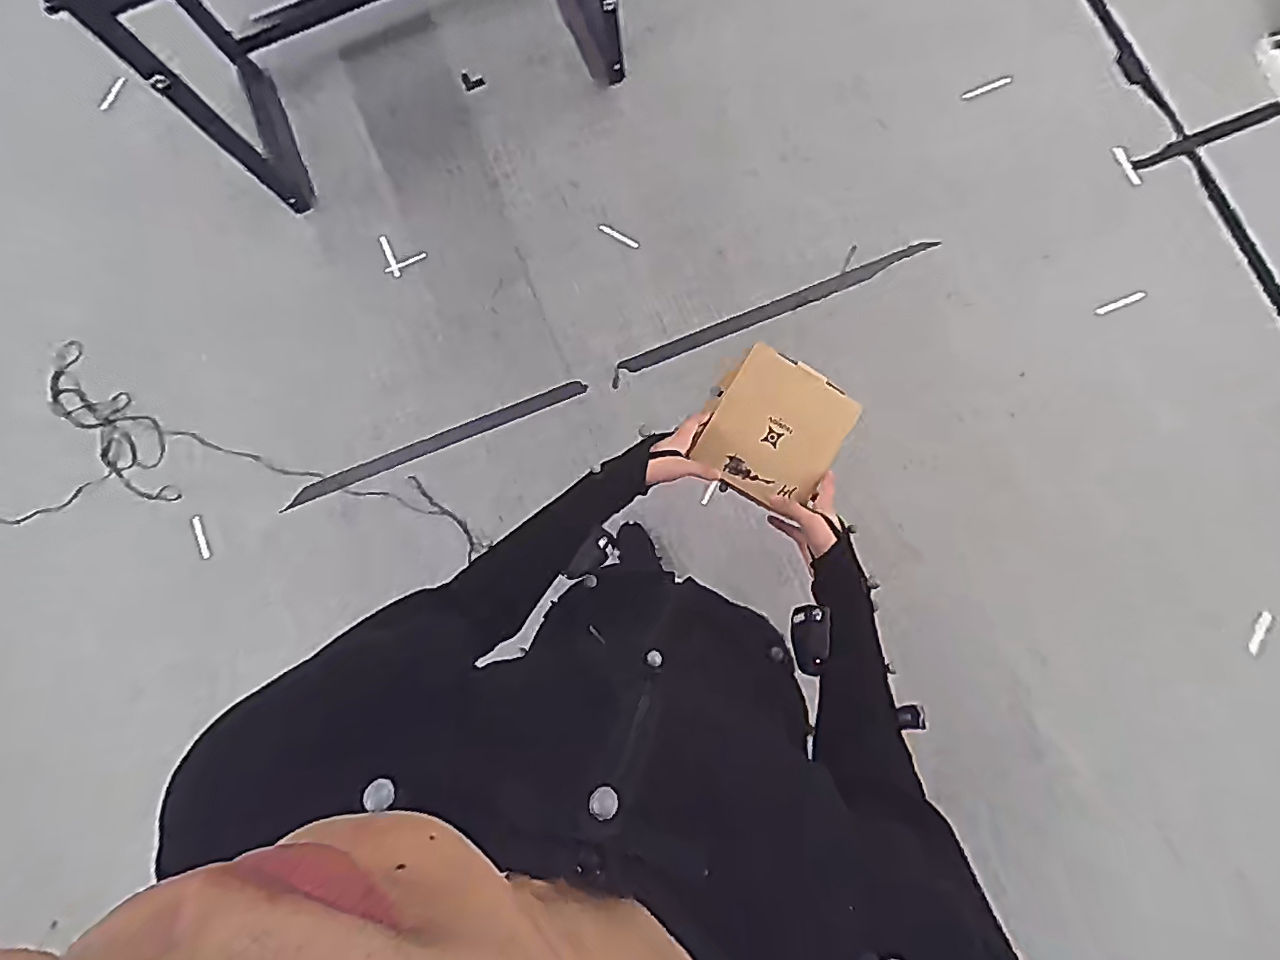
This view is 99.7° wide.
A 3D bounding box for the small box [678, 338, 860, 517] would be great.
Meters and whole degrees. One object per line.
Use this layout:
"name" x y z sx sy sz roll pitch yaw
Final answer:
"small box" 0.166 -0.072 0.766 0.168 0.176 0.179 30 93 -4
